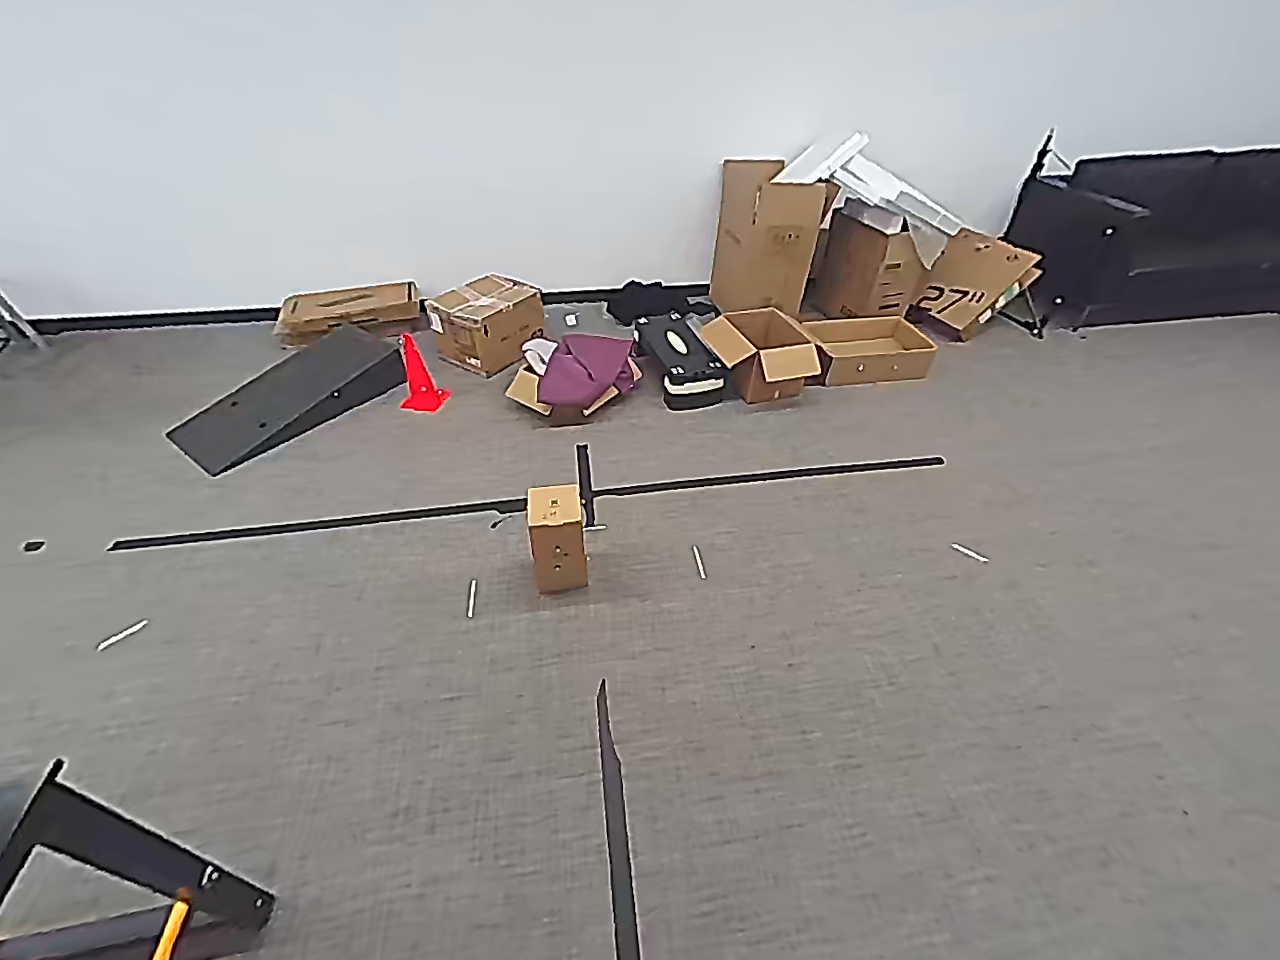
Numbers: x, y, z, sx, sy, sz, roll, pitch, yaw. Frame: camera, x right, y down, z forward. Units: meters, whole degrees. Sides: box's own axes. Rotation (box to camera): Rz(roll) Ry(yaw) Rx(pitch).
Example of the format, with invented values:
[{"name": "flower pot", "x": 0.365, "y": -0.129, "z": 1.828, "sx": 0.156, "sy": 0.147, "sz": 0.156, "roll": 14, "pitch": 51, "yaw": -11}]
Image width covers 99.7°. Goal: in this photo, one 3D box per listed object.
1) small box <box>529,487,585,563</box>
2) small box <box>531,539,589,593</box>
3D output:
[{"name": "small box", "x": -0.269, "y": 0.145, "z": 1.756, "sx": 0.168, "sy": 0.176, "sz": 0.179, "roll": -6, "pitch": 42, "yaw": -7}, {"name": "small box", "x": -0.275, "y": 0.270, "z": 1.863, "sx": 0.179, "sy": 0.176, "sz": 0.168, "roll": -8, "pitch": 42, "yaw": -10}]
